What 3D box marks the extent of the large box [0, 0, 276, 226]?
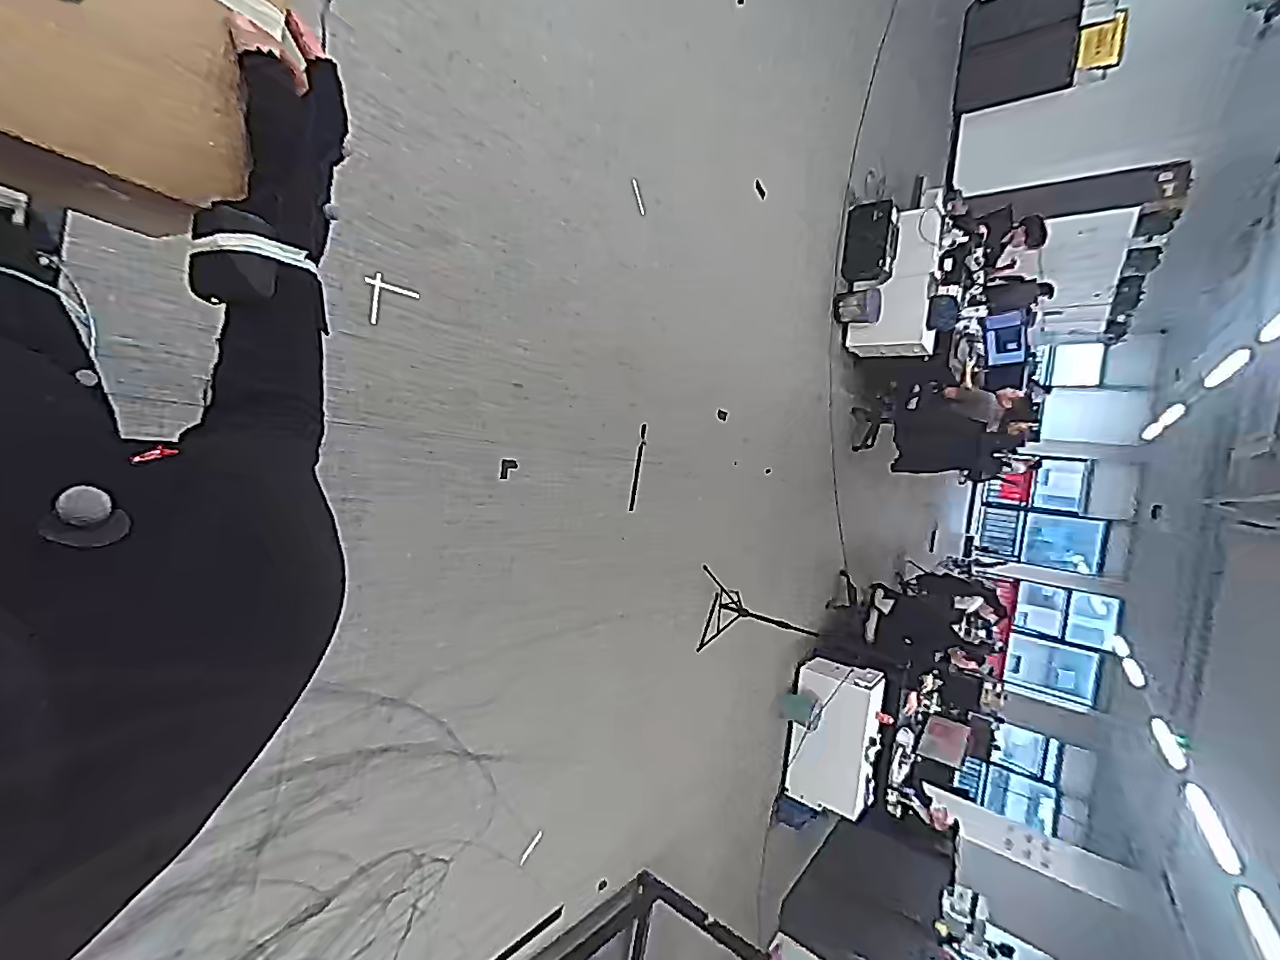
[{"bbox_3d":[-0.533,-0.419,0.369,0.408,0.320,0.320,9,98,-53],"label":"large box"}]
